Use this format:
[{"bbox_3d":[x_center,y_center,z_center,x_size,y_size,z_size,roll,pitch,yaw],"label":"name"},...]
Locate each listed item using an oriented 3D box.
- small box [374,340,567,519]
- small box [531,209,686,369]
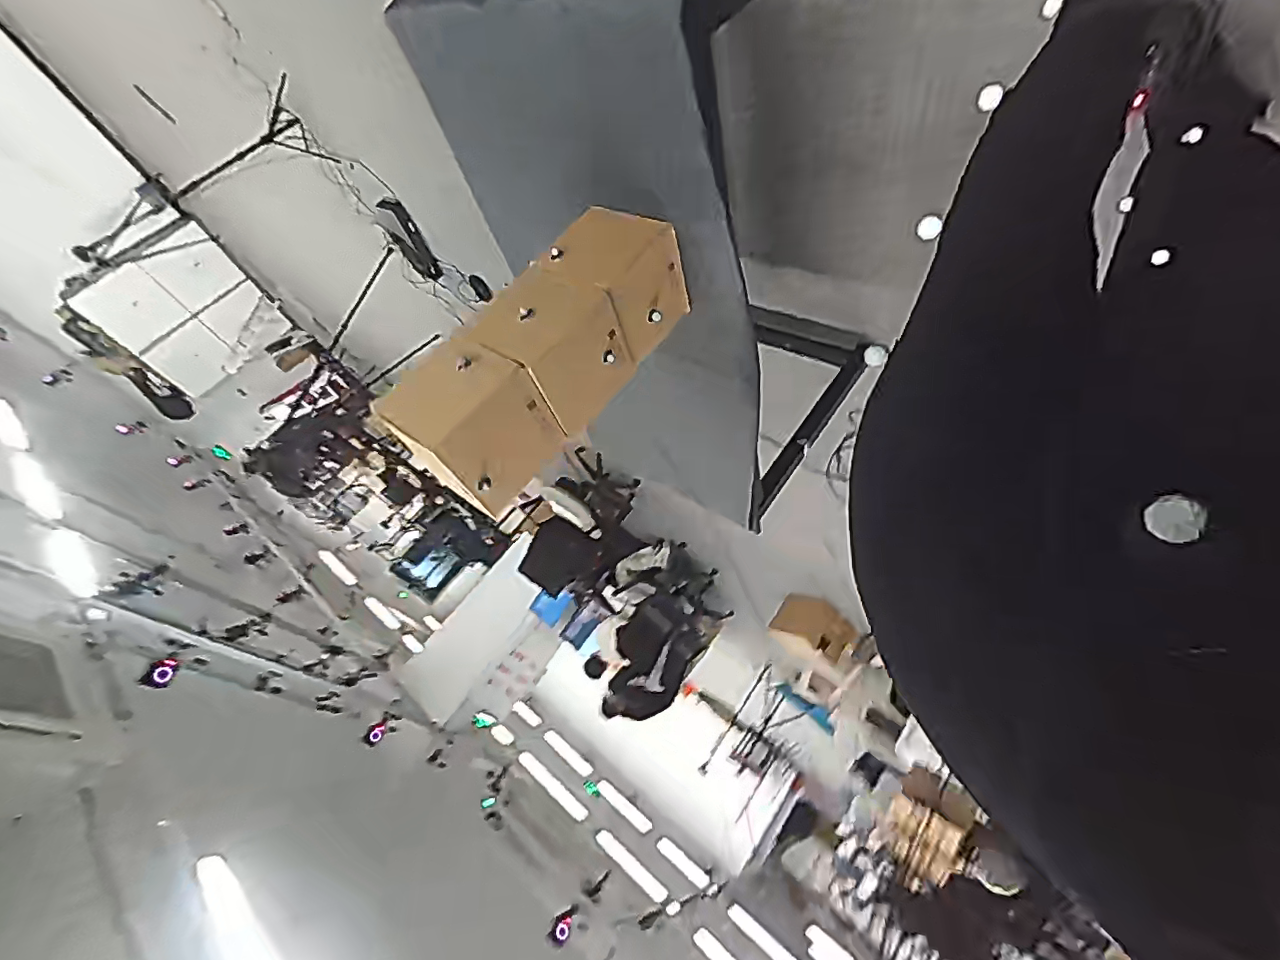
[{"bbox_3d":[-0.240,-0.080,0.797,0.179,0.176,0.168,28,159,34],"label":"small box"},{"bbox_3d":[-0.040,-0.320,0.898,0.179,0.176,0.168,30,159,31],"label":"small box"}]
